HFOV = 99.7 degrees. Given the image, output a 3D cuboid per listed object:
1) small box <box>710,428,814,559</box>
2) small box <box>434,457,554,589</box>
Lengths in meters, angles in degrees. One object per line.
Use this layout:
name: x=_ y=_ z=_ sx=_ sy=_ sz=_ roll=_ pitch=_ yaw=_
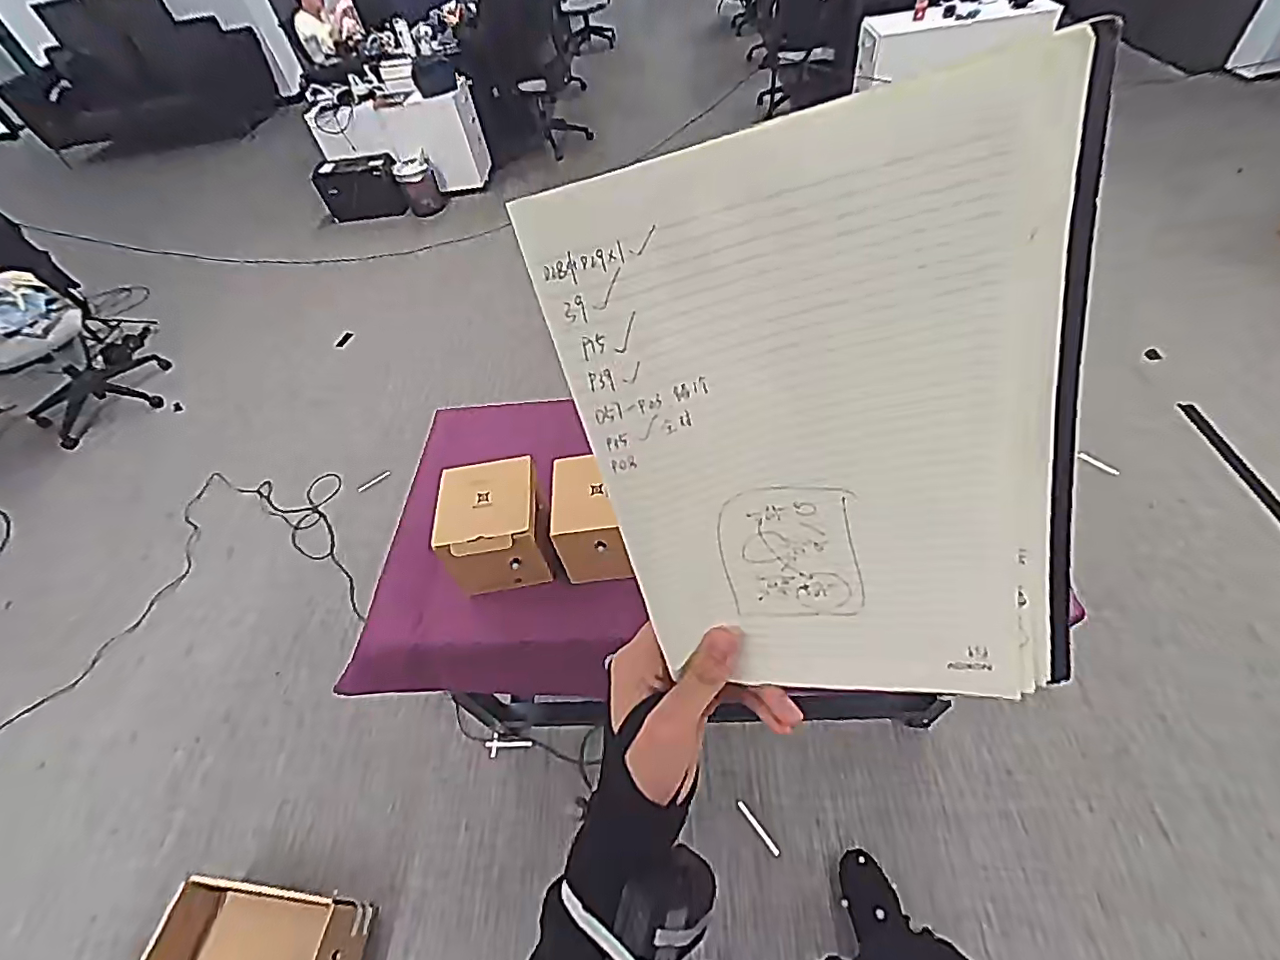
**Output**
small box: x=0.211 y=0.029 z=0.966 sx=0.168 sy=0.176 sz=0.179 roll=-1 pitch=50 yaw=8
small box: x=-0.258 y=0.087 z=0.997 sx=0.168 sy=0.176 sz=0.179 roll=-9 pitch=50 yaw=1
